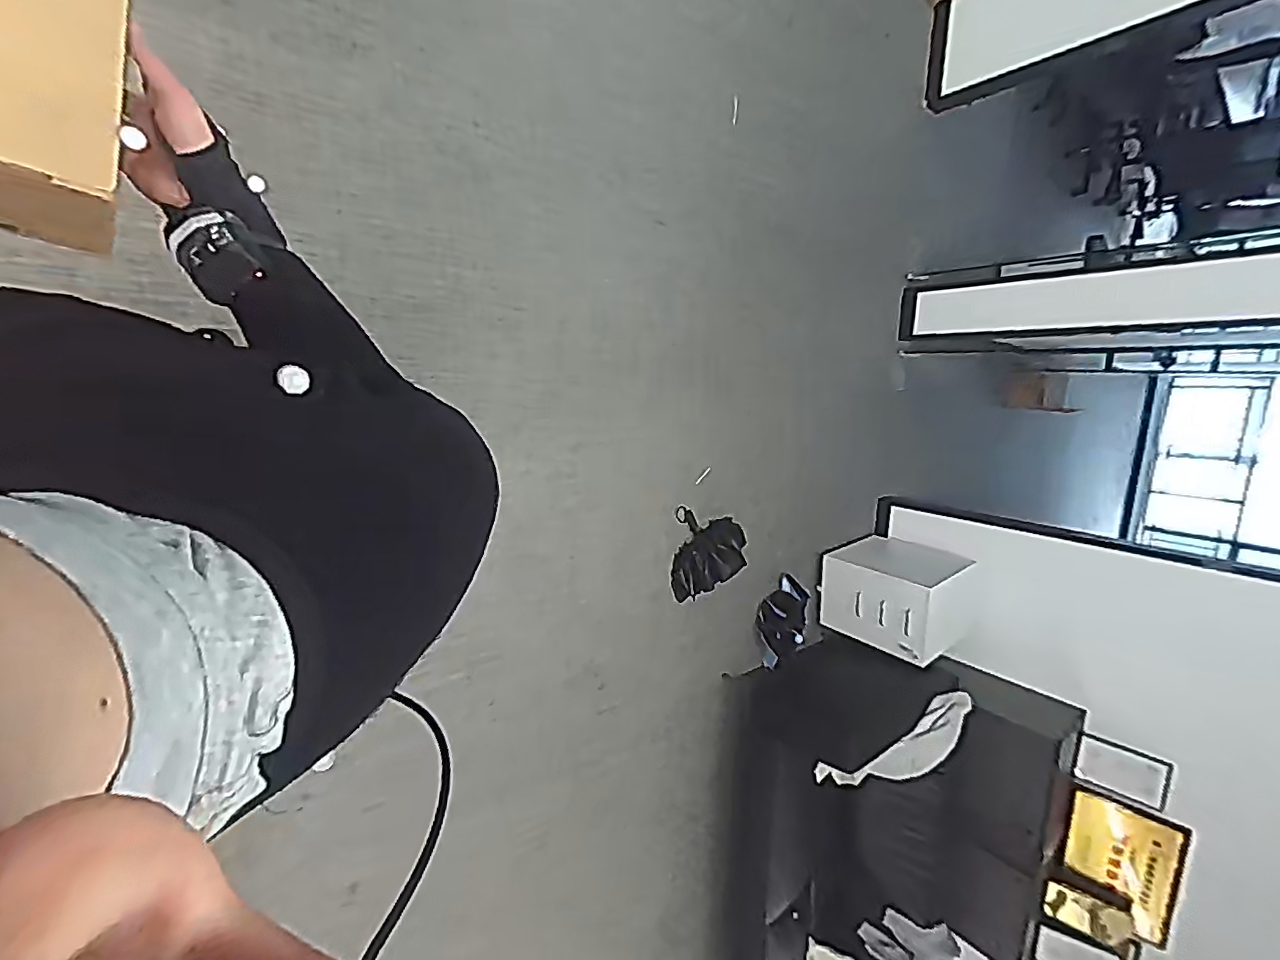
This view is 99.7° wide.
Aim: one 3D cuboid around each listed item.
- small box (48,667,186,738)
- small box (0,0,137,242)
[{"bbox_3d":[-1.130,0.534,1.164,0.179,0.176,0.168,-54,127,-16],"label":"small box"},{"bbox_3d":[-0.452,-0.282,0.358,0.168,0.176,0.179,2,93,-46],"label":"small box"}]
